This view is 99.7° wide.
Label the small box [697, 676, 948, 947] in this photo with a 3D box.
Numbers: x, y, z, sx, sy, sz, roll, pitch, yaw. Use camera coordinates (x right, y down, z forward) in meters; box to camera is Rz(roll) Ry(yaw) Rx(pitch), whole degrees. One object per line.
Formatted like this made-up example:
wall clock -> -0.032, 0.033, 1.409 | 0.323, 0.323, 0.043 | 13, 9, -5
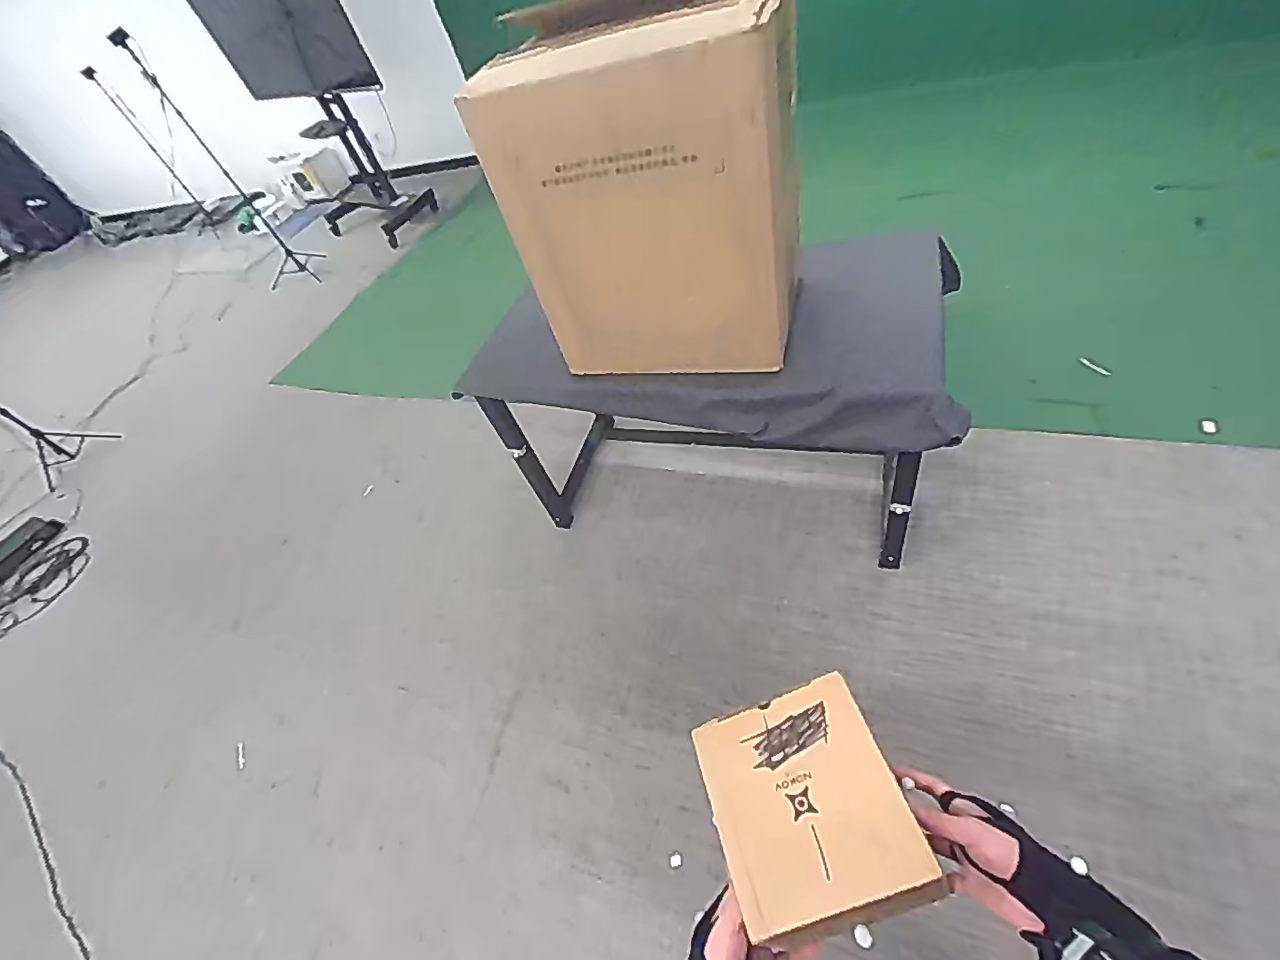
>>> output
small box -> 0.180, 0.335, 0.543 | 0.168, 0.176, 0.179 | -27, 43, 9
